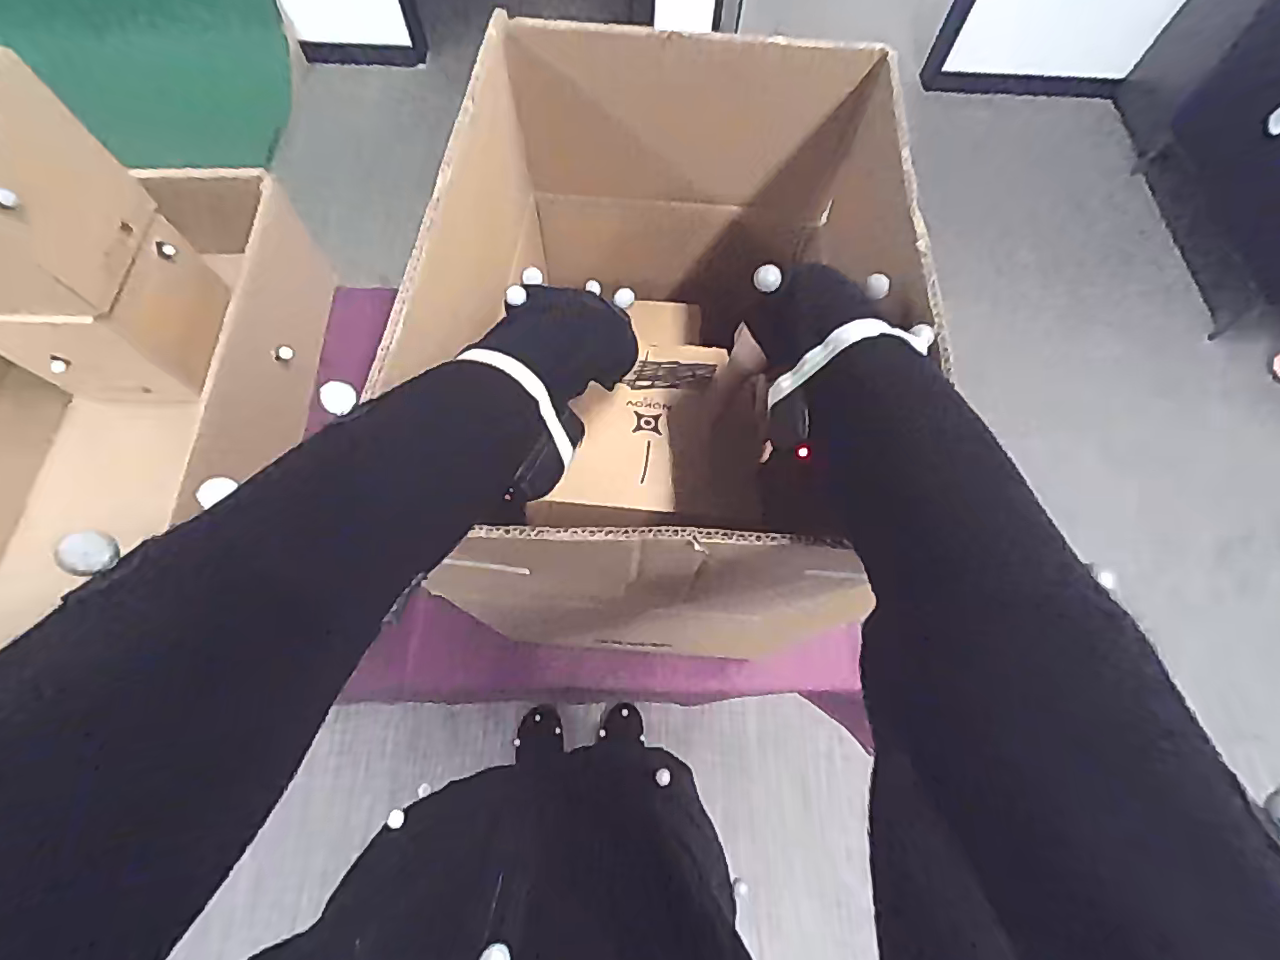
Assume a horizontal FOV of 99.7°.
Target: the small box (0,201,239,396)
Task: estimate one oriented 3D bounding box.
[{"bbox_3d":[-0.657,-0.219,0.683,0.168,0.176,0.179,1,68,0],"label":"small box"}]
